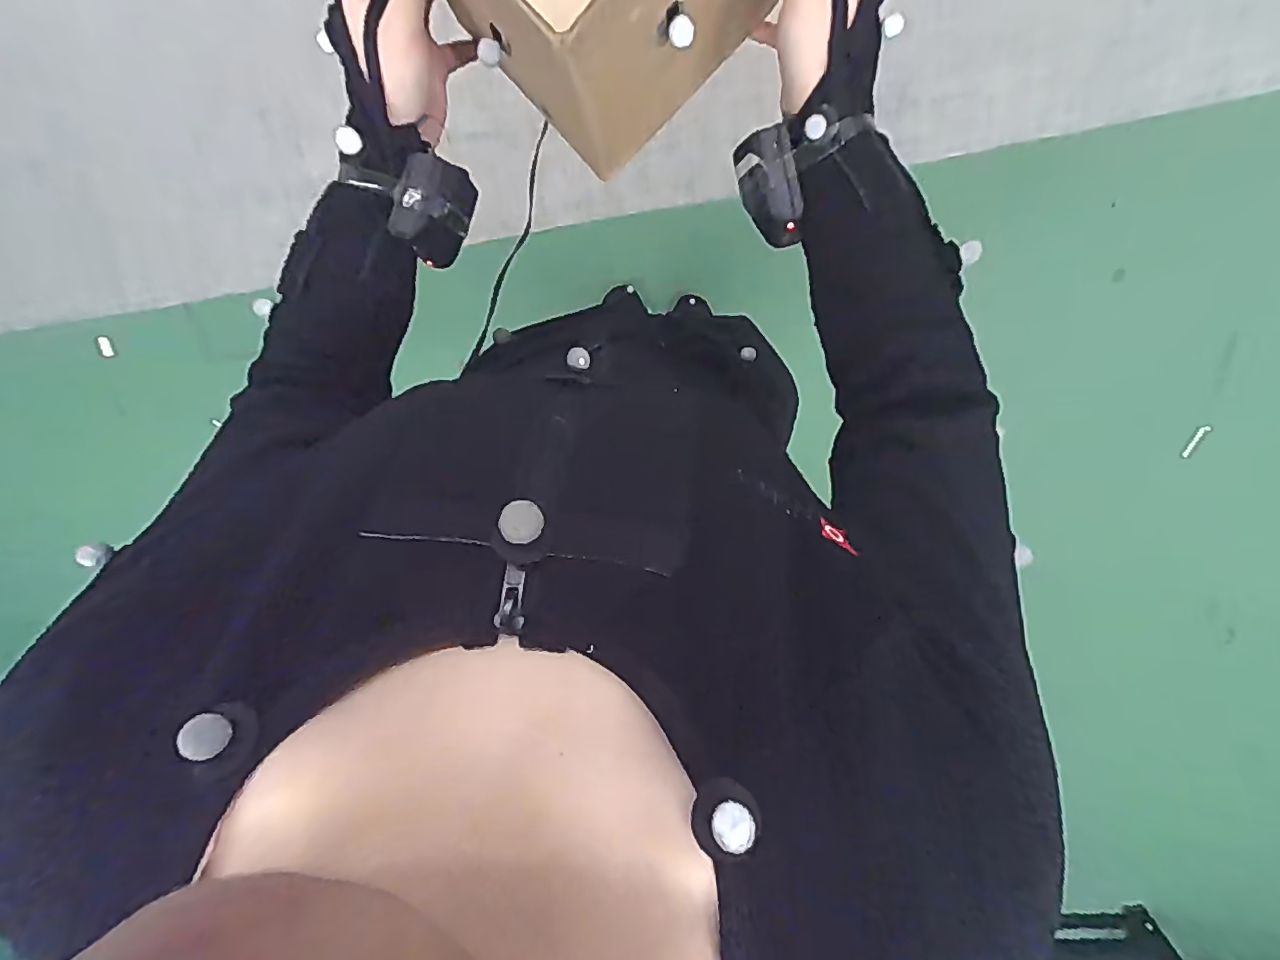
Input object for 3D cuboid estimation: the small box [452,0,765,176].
[{"bbox_3d":[-0.025,-0.331,0.327,0.179,0.176,0.168,-43,93,9],"label":"small box"}]
